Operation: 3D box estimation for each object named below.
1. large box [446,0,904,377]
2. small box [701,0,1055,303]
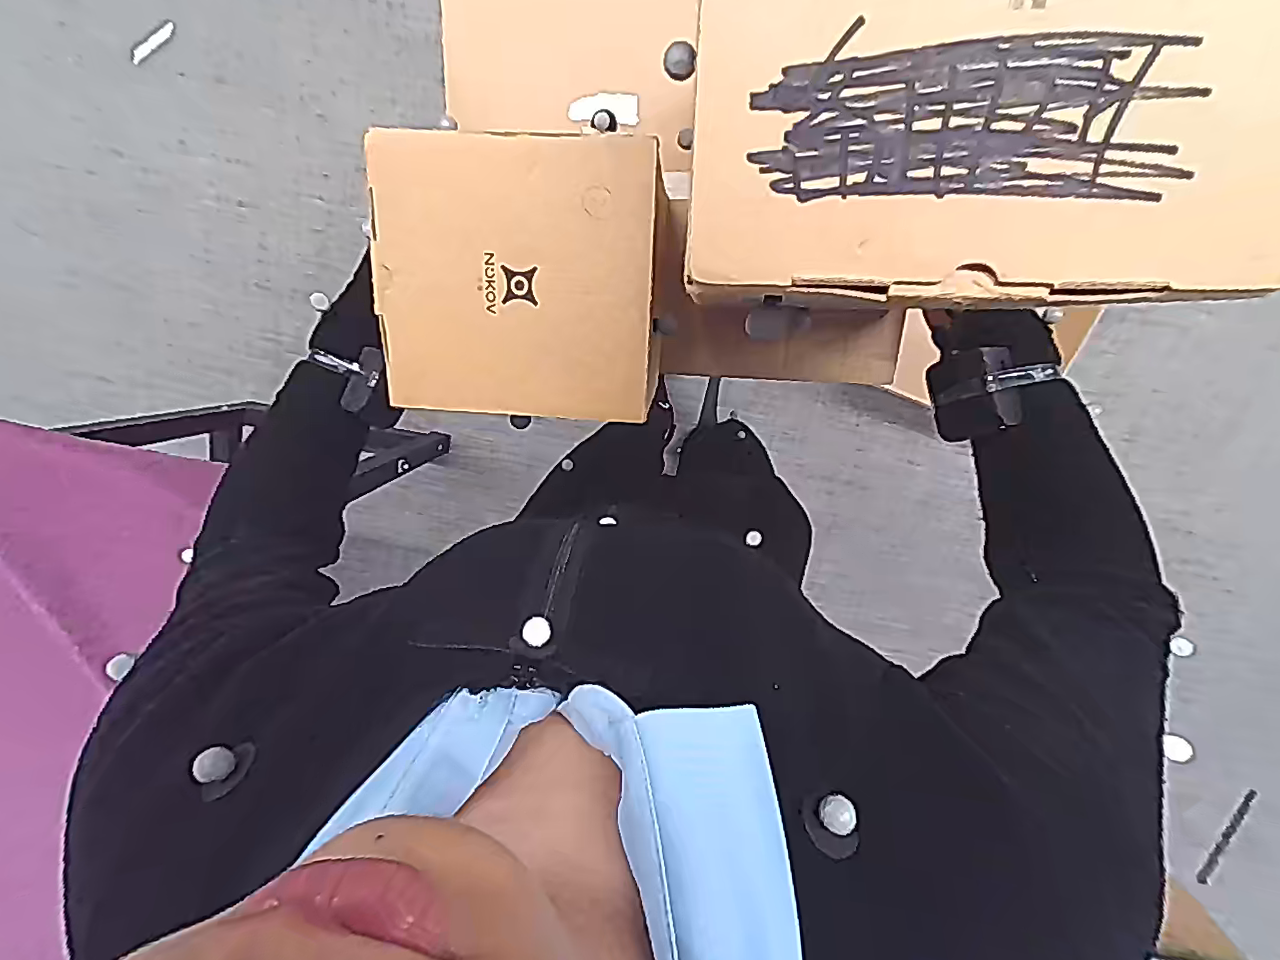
[{"bbox_3d":[0.053,-0.292,0.603,0.408,0.320,0.320,4,106,6],"label":"large box"},{"bbox_3d":[0.128,-0.214,0.361,0.168,0.176,0.179,3,107,7],"label":"small box"}]
